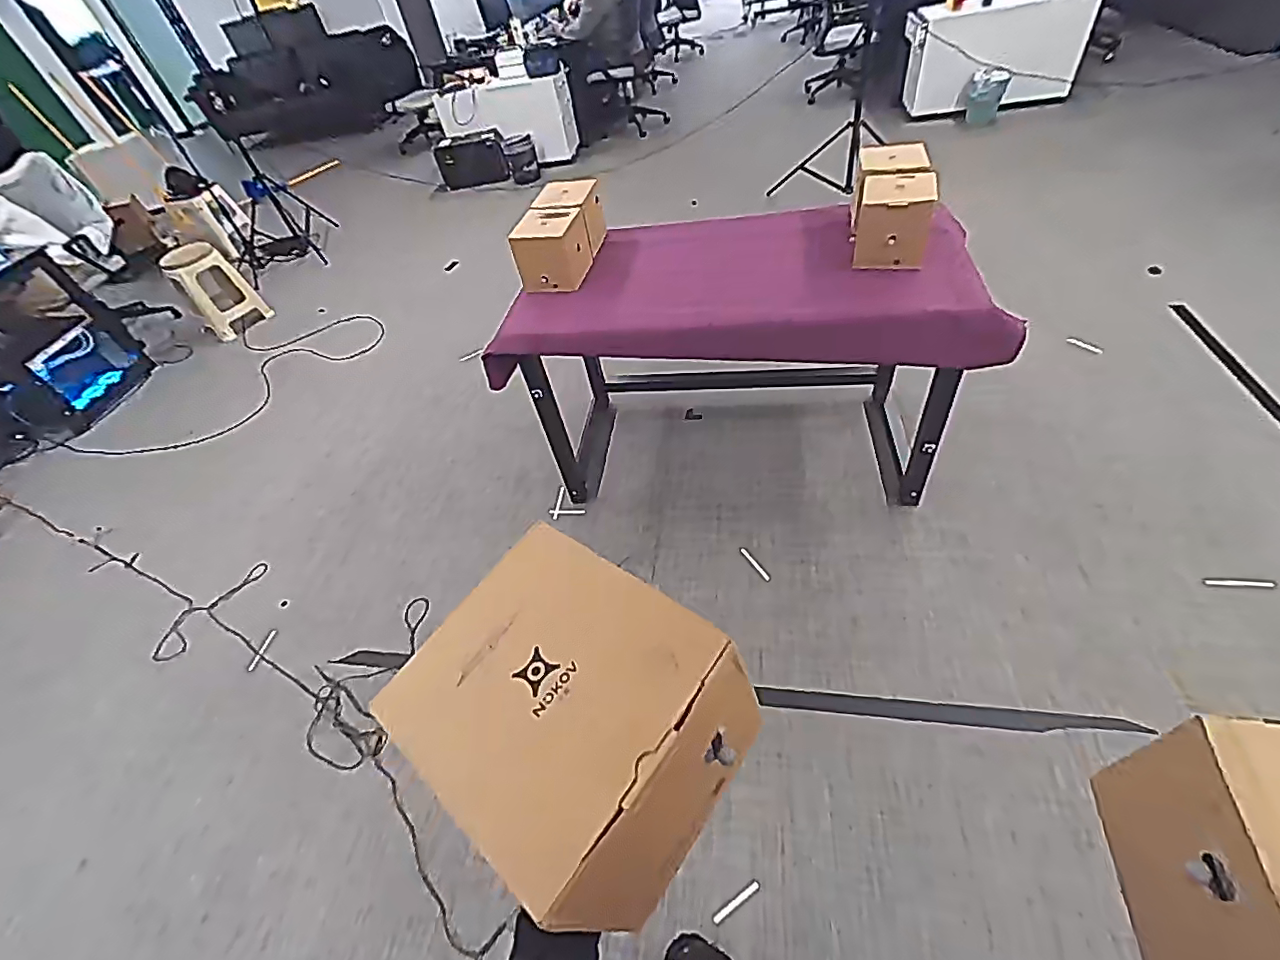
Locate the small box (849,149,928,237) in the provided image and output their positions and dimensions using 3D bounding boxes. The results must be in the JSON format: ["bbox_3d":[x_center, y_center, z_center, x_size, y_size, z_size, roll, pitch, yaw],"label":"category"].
[{"bbox_3d":[0.683,-0.795,1.503,0.168,0.176,0.179,4,49,14],"label":"small box"}]

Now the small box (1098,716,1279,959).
[{"bbox_3d":[0.406,0.257,0.304,0.168,0.176,0.179,0,51,17],"label":"small box"}]

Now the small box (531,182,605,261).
[{"bbox_3d":[-0.217,-0.805,1.690,0.168,0.176,0.179,4,50,15],"label":"small box"}]

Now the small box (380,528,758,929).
[{"bbox_3d":[-0.034,0.170,0.387,0.179,0.176,0.168,24,62,35],"label":"small box"}]
